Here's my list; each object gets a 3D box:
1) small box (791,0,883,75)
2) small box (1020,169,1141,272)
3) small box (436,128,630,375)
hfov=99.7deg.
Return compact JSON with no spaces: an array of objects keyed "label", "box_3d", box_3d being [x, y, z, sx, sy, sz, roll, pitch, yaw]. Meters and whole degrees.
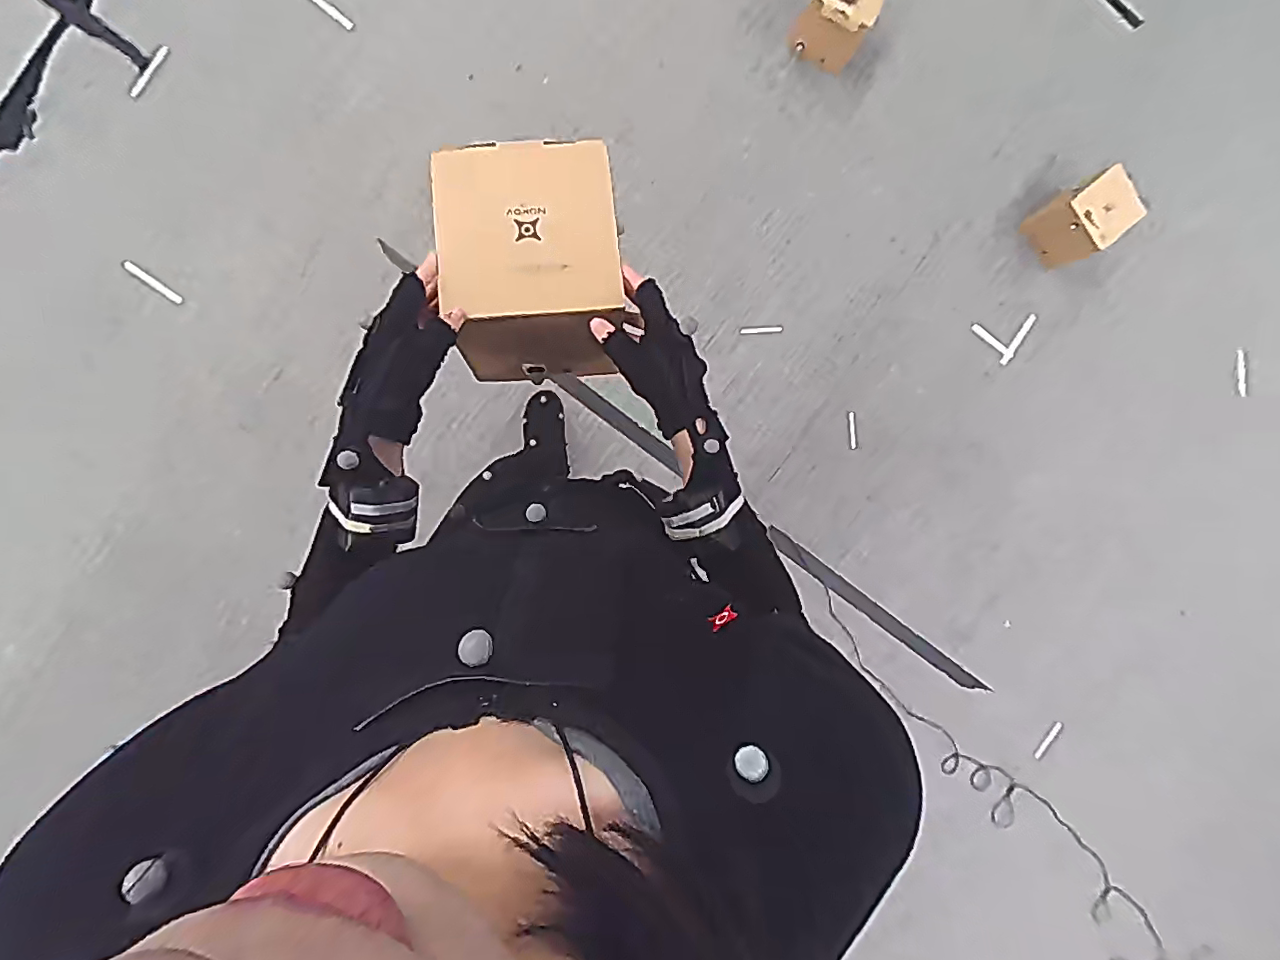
[{"label":"small box","box_3d":[0.516,-1.217,1.409,0.168,0.176,0.179,24,90,-8]},{"label":"small box","box_3d":[1.244,-0.730,1.539,0.179,0.176,0.168,-40,98,-3]},{"label":"small box","box_3d":[-0.104,-0.226,0.564,0.168,0.176,0.179,-5,81,-5]}]
